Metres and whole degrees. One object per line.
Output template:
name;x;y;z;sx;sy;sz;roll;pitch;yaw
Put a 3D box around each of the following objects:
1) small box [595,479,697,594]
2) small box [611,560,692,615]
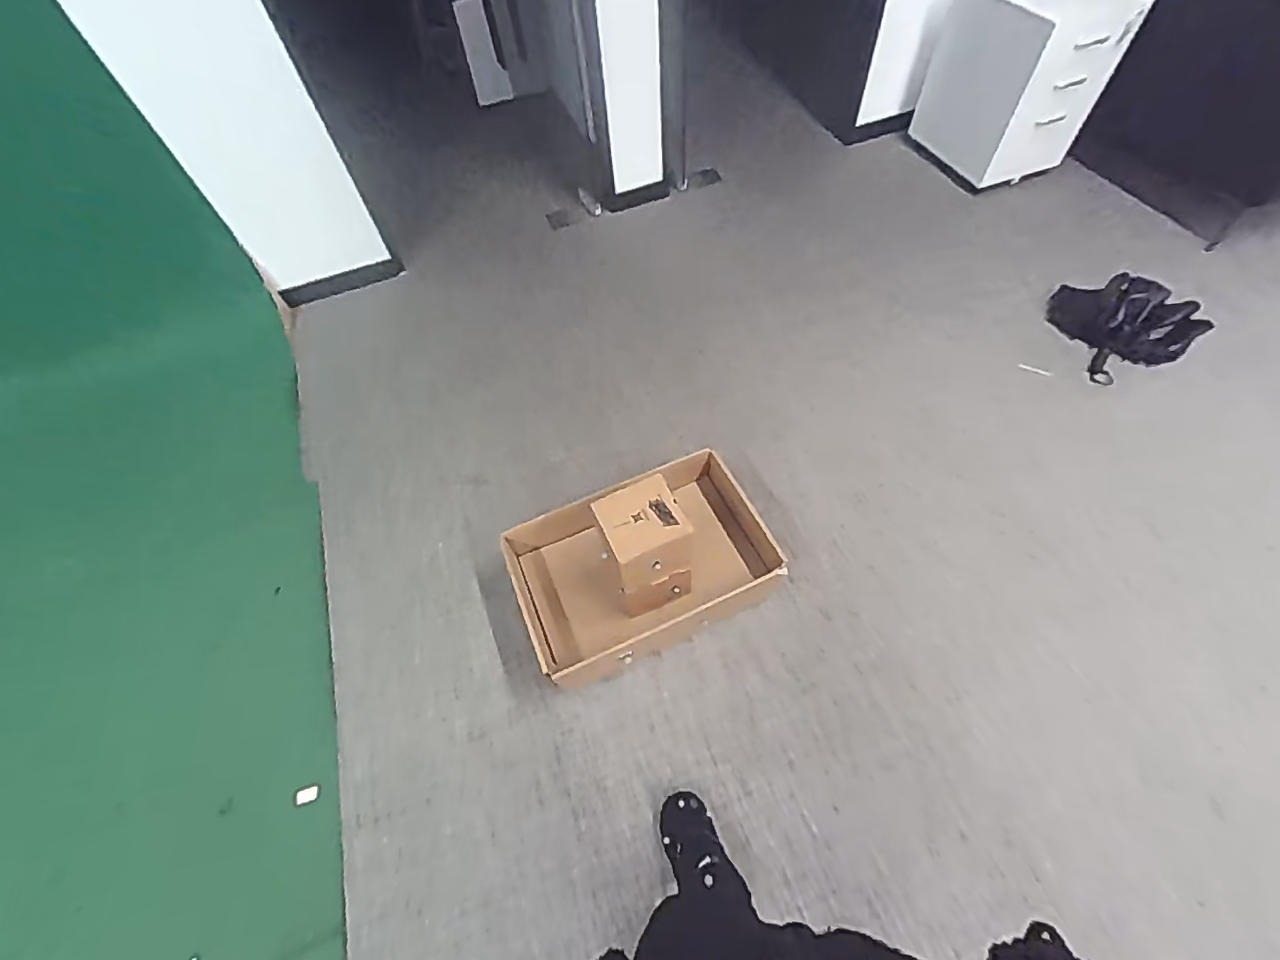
small box;0.014;0.131;1.227;0.179;0.176;0.168;-22;58;-9
small box;0.025;0.221;1.364;0.168;0.176;0.179;-20;56;-9
